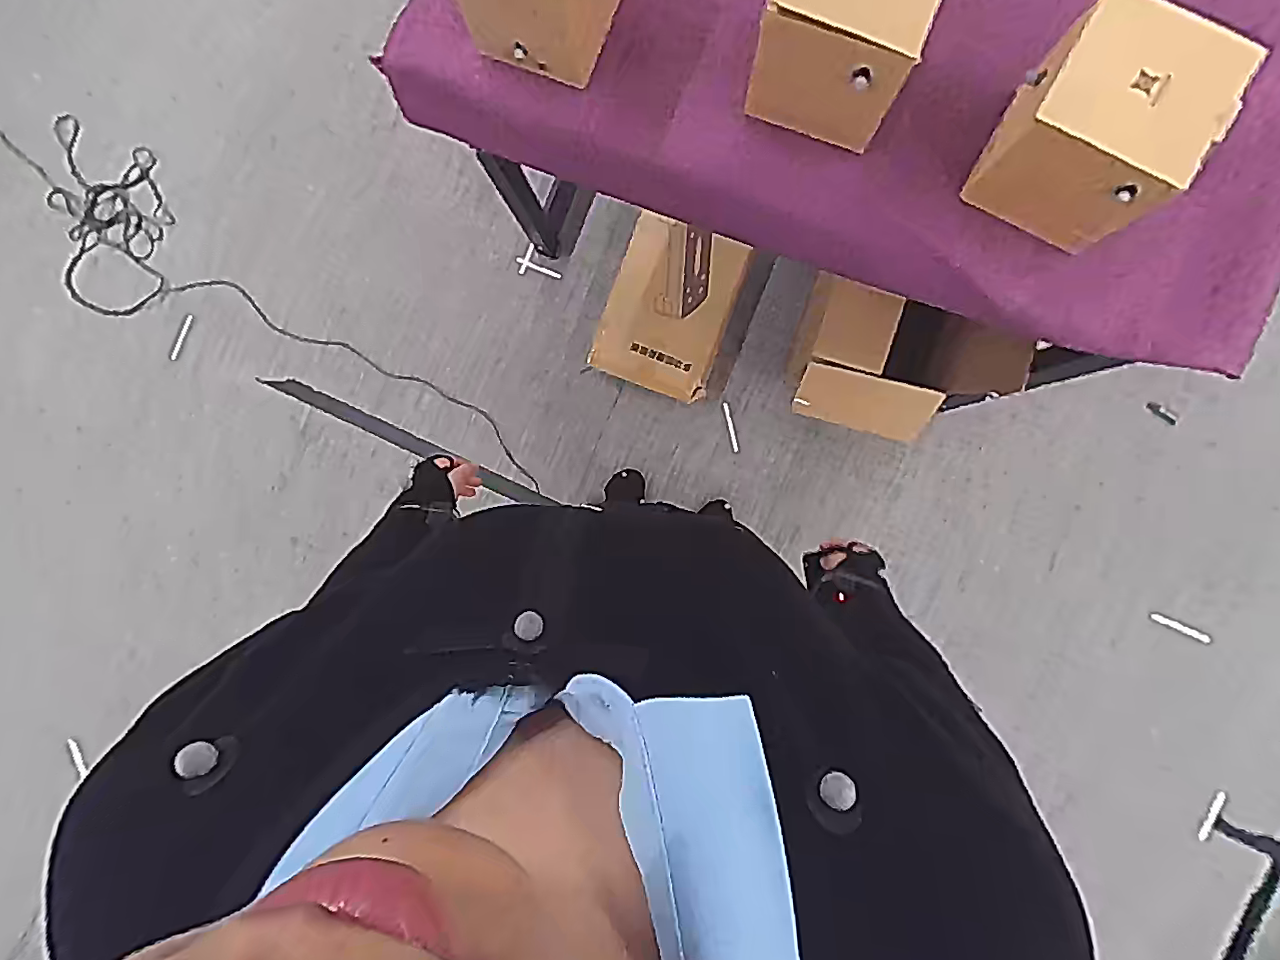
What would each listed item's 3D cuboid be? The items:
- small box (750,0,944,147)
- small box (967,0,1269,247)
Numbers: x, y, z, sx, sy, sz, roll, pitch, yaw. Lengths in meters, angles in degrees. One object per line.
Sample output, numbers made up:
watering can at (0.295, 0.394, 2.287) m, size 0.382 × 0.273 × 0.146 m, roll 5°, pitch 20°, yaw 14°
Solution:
small box at (0.252, -0.550, 0.661) m, size 0.179 × 0.176 × 0.168 m, roll 22°, pitch 89°, yaw 4°
small box at (0.538, -0.411, 0.642) m, size 0.179 × 0.176 × 0.168 m, roll 29°, pitch 92°, yaw 3°
